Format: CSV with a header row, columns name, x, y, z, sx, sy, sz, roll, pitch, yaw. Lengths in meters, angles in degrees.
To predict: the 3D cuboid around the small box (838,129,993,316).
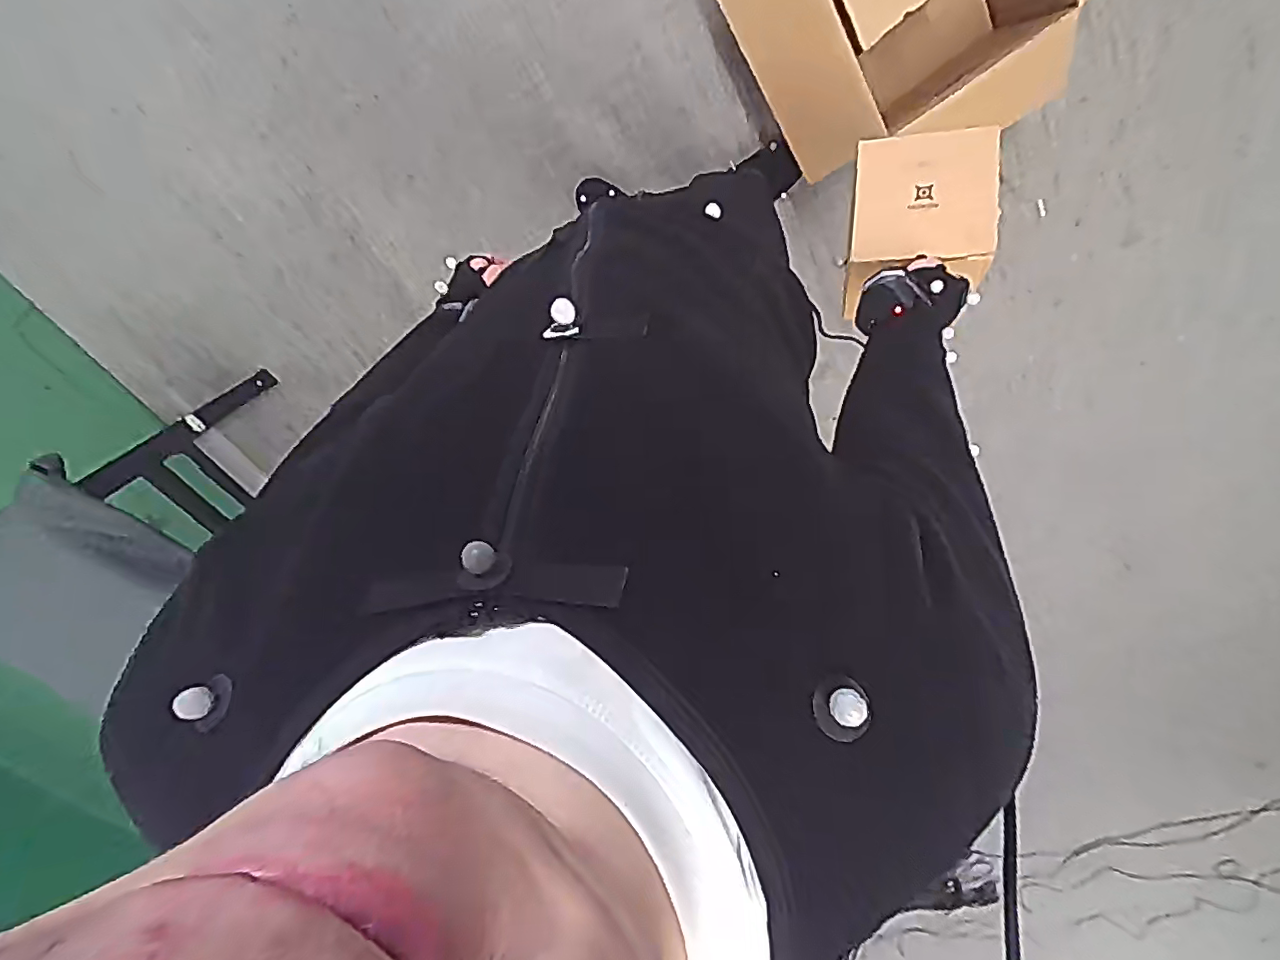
name,x,y,z,sx,sy,sz,roll,pitch,yaw
small box,0.374,-0.344,0.759,0.168,0.176,0.179,4,80,16
